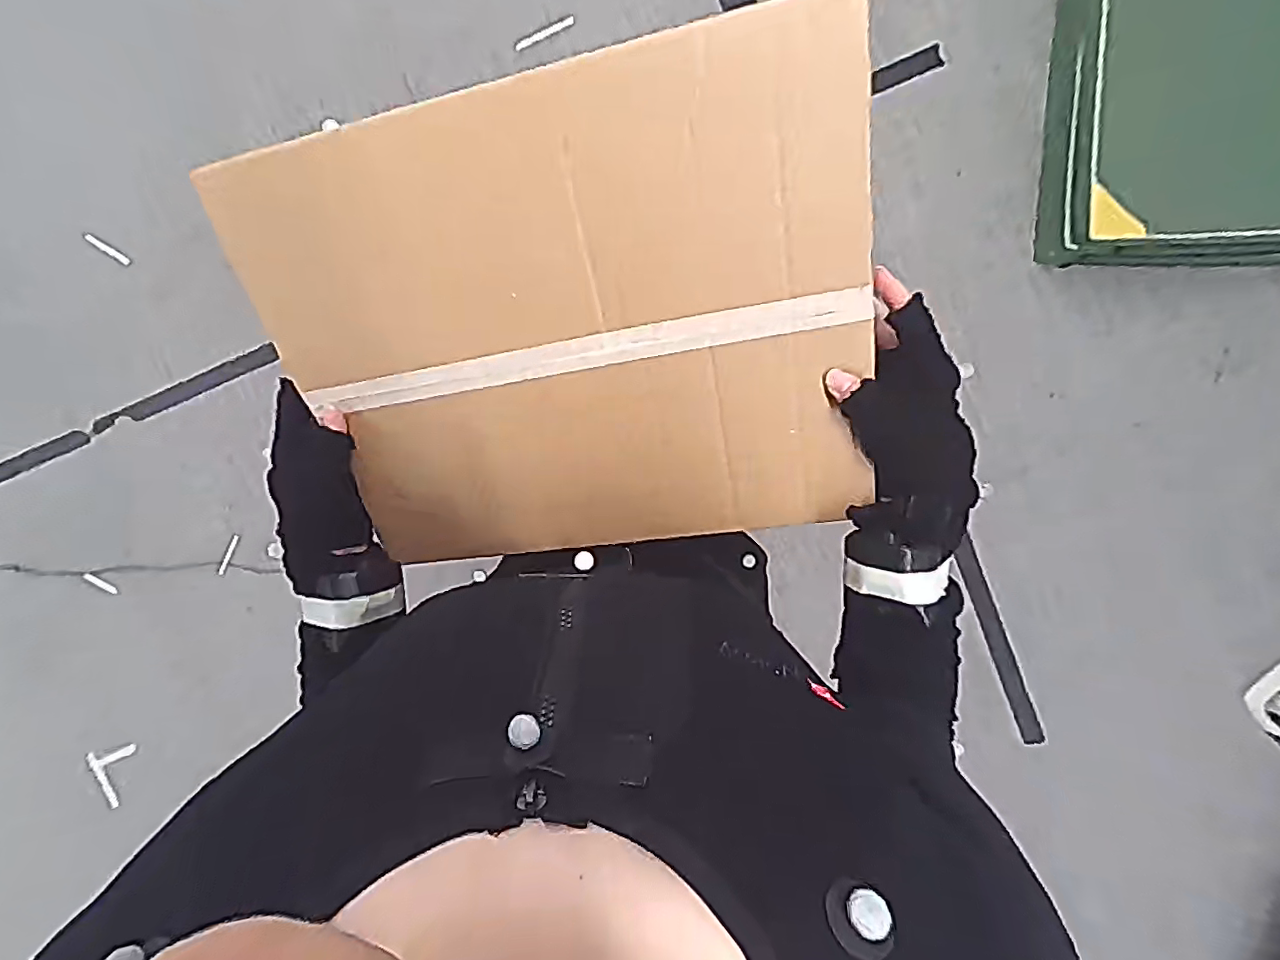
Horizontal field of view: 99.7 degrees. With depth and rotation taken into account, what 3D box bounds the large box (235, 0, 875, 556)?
[{"bbox_3d":[-0.030,-0.159,0.509,0.408,0.320,0.320,-7,118,12],"label":"large box"}]
